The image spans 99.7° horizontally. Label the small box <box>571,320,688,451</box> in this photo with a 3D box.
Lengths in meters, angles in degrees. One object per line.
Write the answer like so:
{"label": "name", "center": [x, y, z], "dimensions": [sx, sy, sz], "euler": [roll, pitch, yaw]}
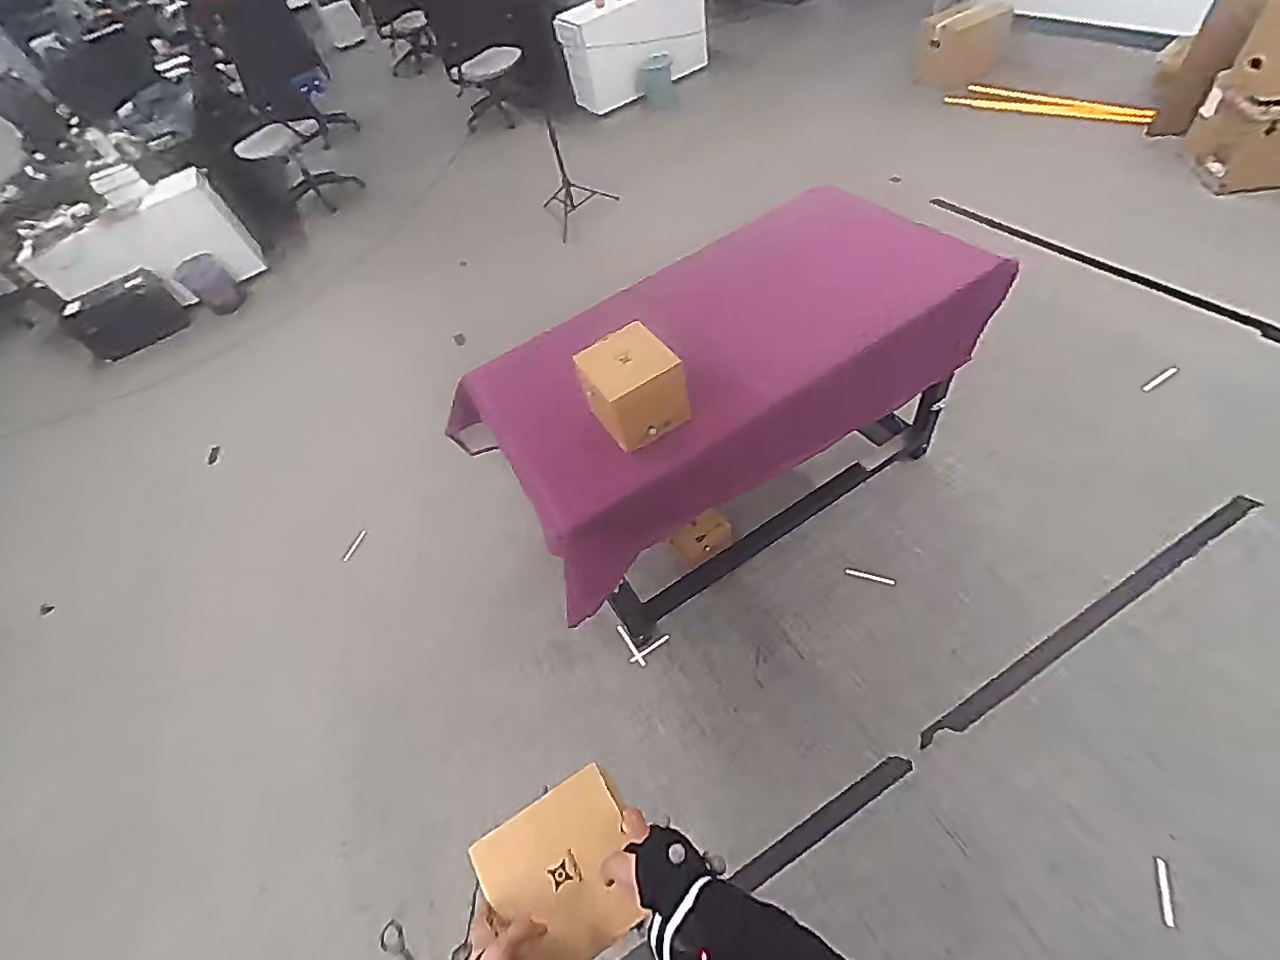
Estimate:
{"label": "small box", "center": [-0.018, -0.193, 1.128], "dimensions": [0.168, 0.176, 0.179], "euler": [-31, 53, -8]}

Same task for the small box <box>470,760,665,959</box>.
{"label": "small box", "center": [-0.080, 0.488, 0.676], "dimensions": [0.179, 0.176, 0.168], "euler": [-28, 58, -15]}
